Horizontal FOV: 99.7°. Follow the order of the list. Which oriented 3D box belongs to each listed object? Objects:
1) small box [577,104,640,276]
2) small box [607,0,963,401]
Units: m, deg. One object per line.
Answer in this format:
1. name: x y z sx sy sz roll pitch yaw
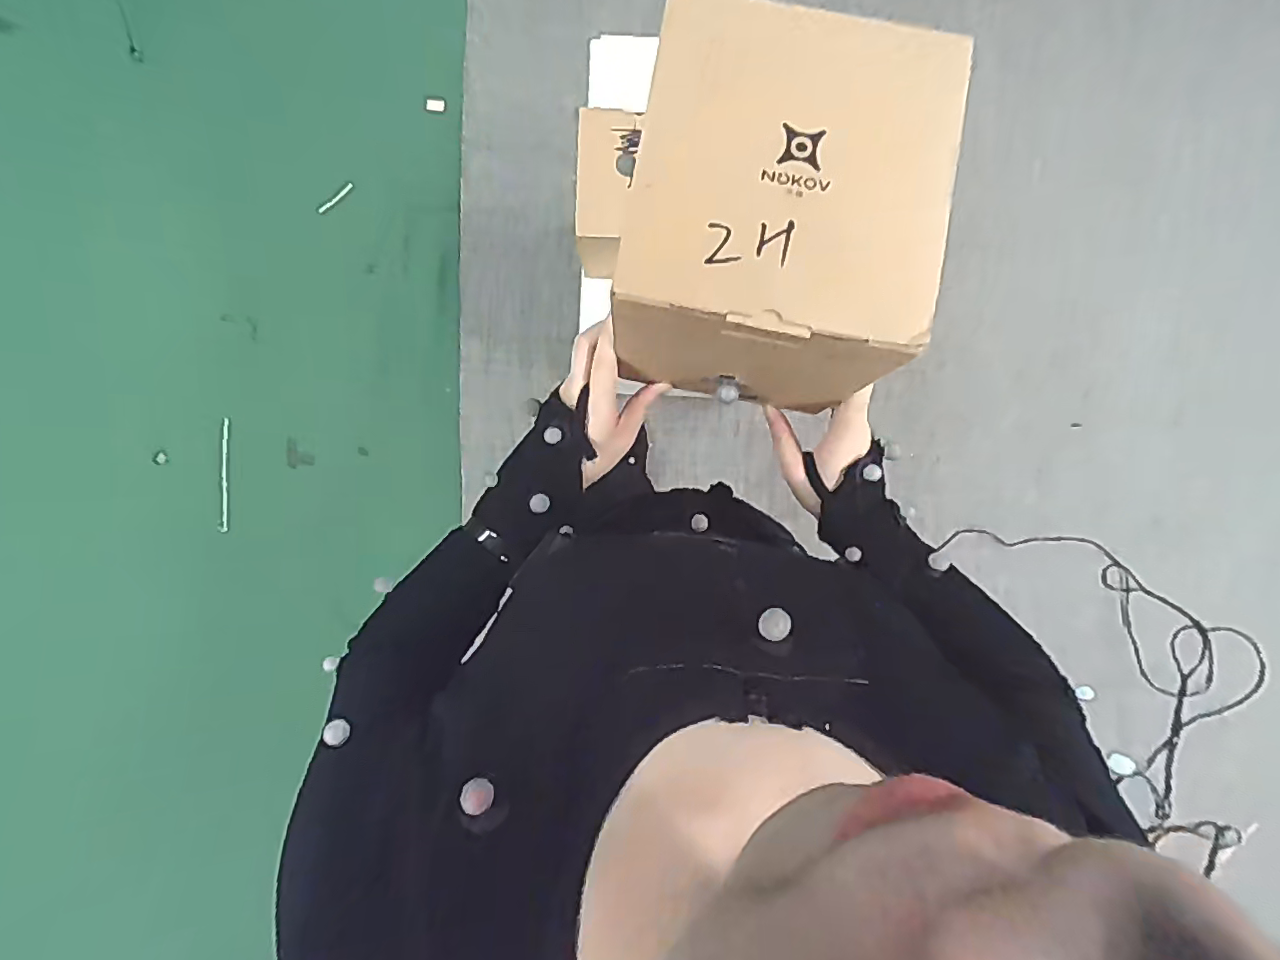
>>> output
1. small box: -0.002 -0.419 0.812 0.168 0.176 0.179 3 92 -1
2. small box: 0.077 -0.167 0.362 0.168 0.176 0.179 11 87 1
